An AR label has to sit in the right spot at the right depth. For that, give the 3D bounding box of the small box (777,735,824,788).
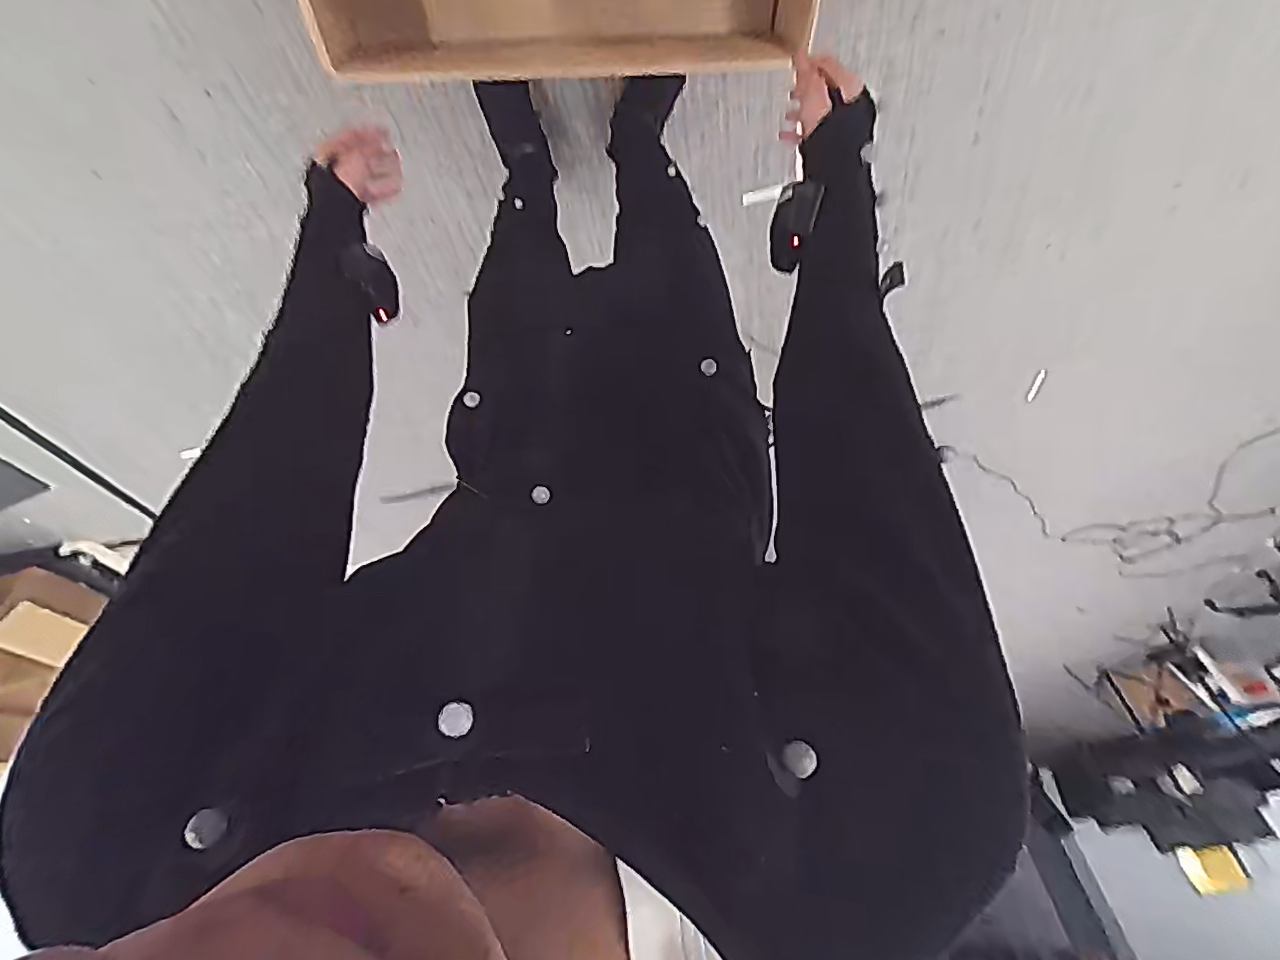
[{"bbox_3d":[0.721,1.269,2.439,0.168,0.176,0.179,-12,138,7],"label":"small box"}]
